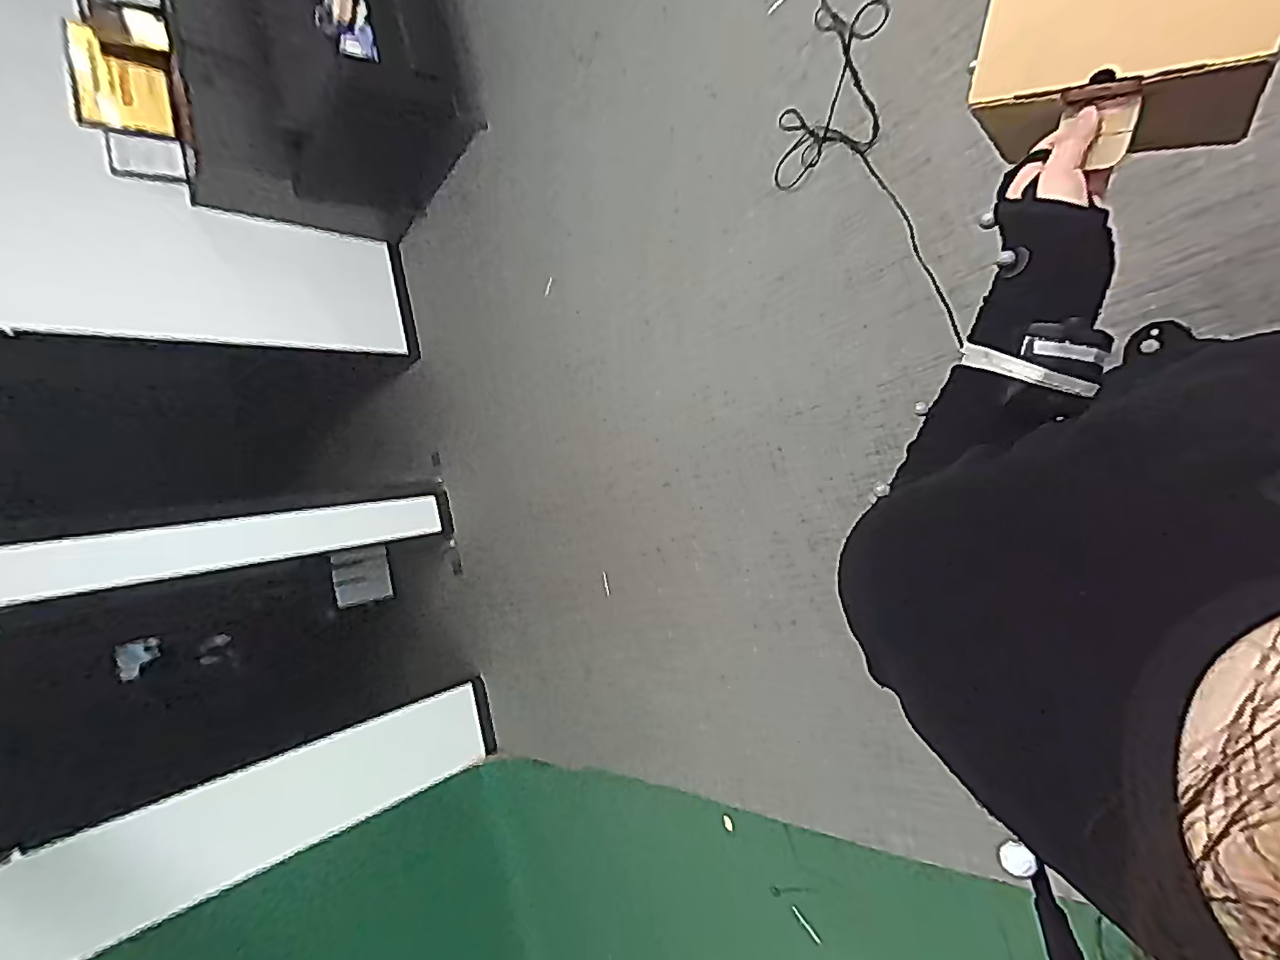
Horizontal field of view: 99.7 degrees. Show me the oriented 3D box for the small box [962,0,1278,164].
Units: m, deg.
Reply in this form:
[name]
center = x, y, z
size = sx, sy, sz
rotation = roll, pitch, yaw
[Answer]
[small box]
center = 0.377, -0.369, 0.416
size = 0.168, 0.176, 0.179
rotation = 19, 112, 39
